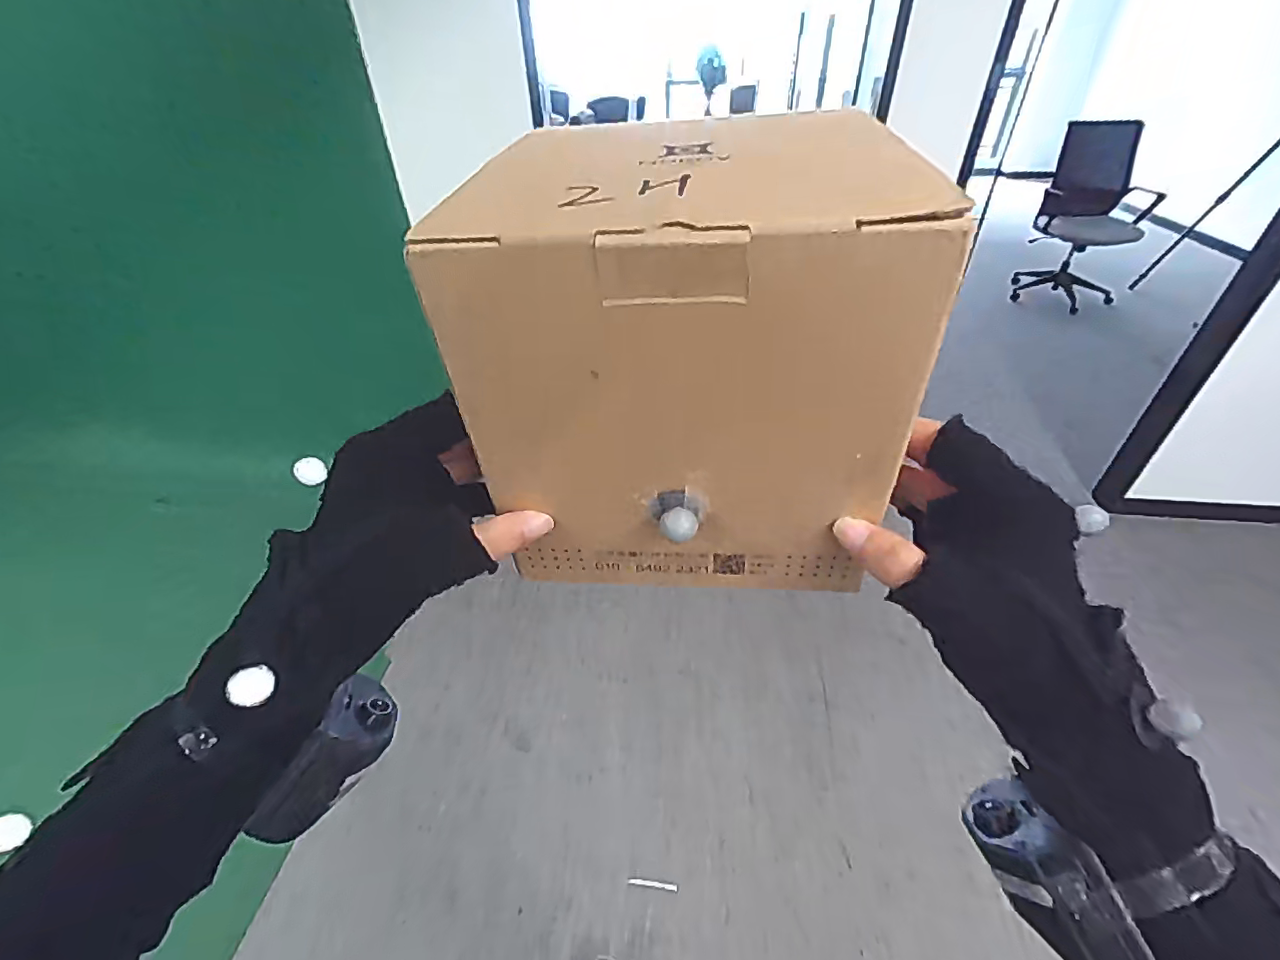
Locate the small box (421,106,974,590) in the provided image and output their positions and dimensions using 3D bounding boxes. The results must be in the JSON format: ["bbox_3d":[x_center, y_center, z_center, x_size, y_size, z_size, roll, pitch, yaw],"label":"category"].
[{"bbox_3d":[0.025,-0.069,0.271,0.168,0.176,0.179,1,44,7],"label":"small box"}]
